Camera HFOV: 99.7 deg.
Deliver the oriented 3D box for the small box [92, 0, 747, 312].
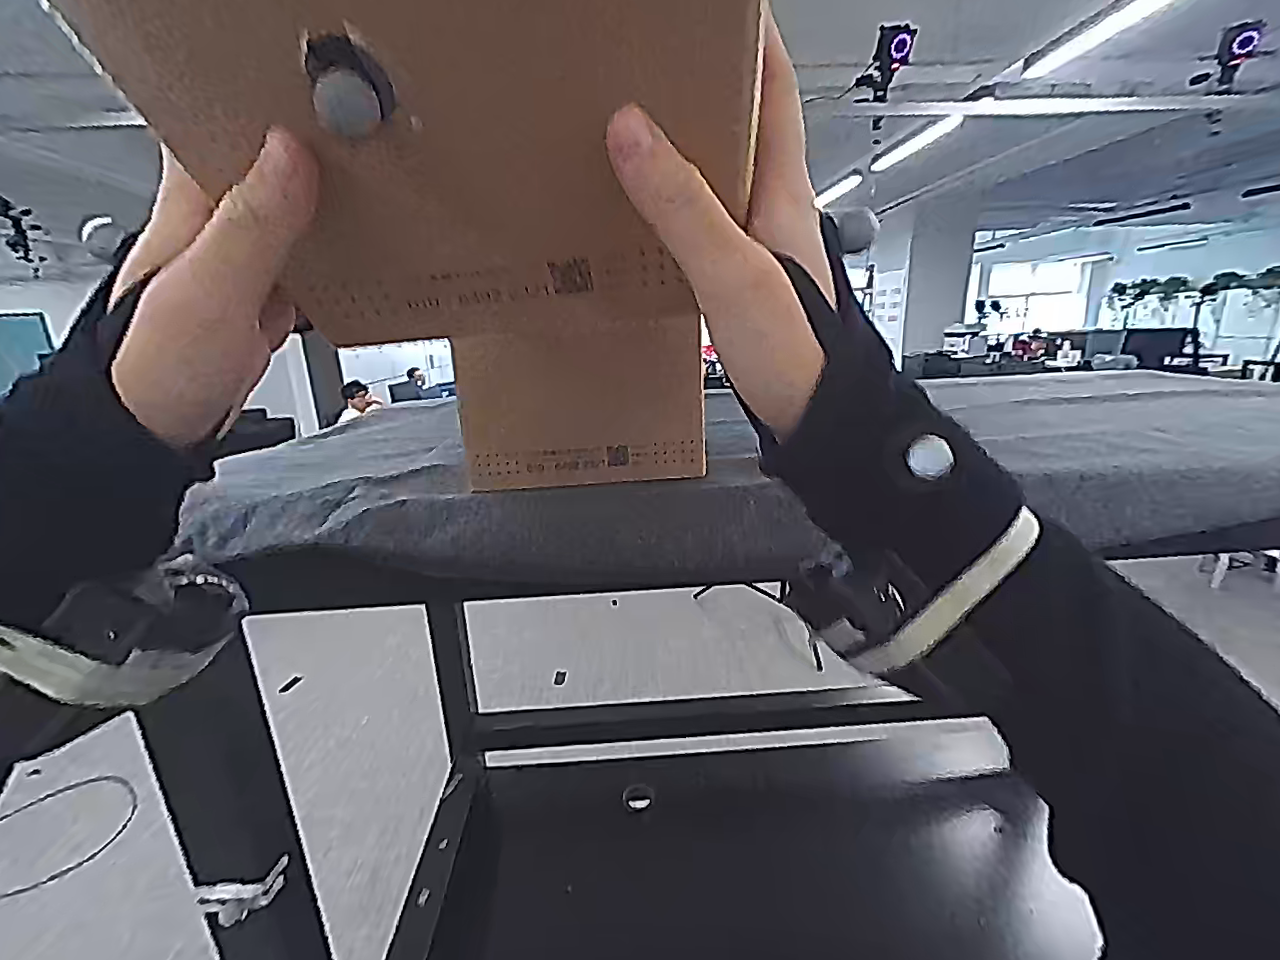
[{"bbox_3d":[-0.053,-0.177,0.192,0.168,0.176,0.179,-5,59,3],"label":"small box"}]
